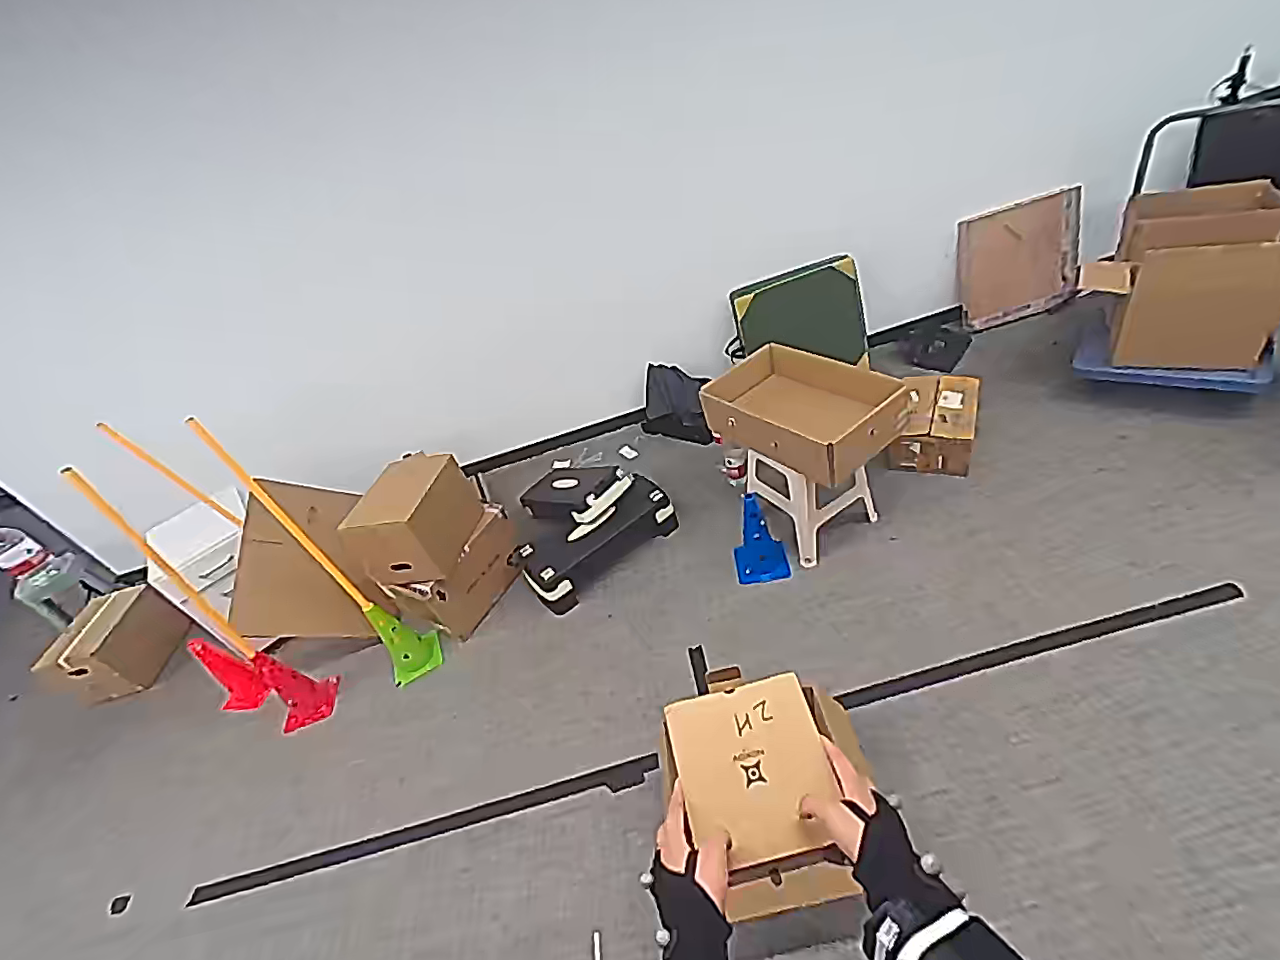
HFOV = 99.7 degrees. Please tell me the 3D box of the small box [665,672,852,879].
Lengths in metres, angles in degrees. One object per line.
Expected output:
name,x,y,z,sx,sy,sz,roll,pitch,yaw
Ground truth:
small box,0.137,0.366,0.661,0.168,0.176,0.179,-14,48,0
